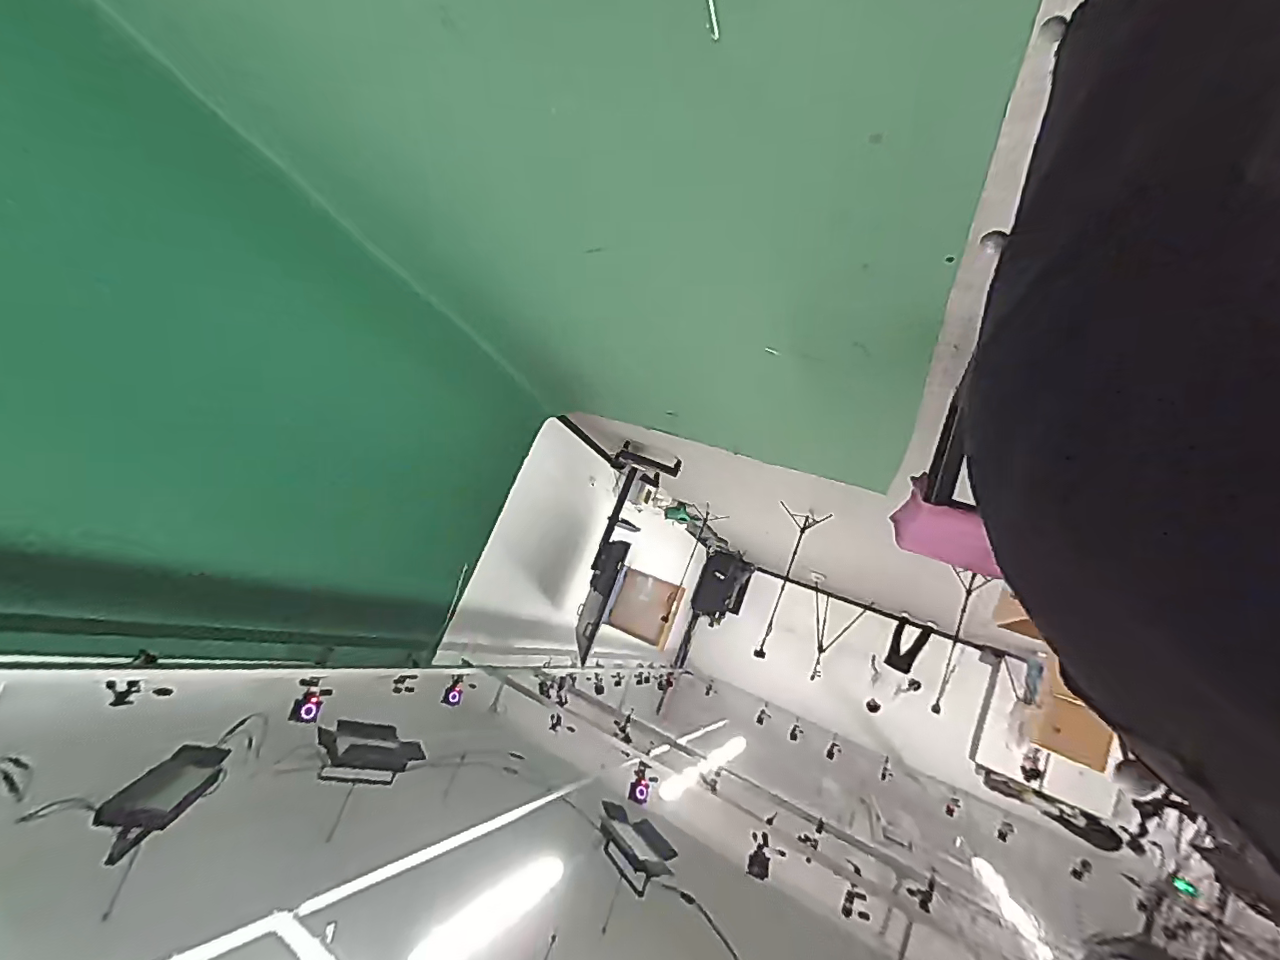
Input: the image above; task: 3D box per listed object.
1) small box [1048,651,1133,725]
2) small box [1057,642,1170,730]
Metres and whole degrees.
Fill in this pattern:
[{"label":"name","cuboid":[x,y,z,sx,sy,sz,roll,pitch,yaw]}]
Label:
[{"label":"small box","cuboid":[1.465,0.664,1.746,0.179,0.176,0.168,18,167,26]},{"label":"small box","cuboid":[1.329,0.569,1.517,0.168,0.176,0.179,21,171,3]}]
